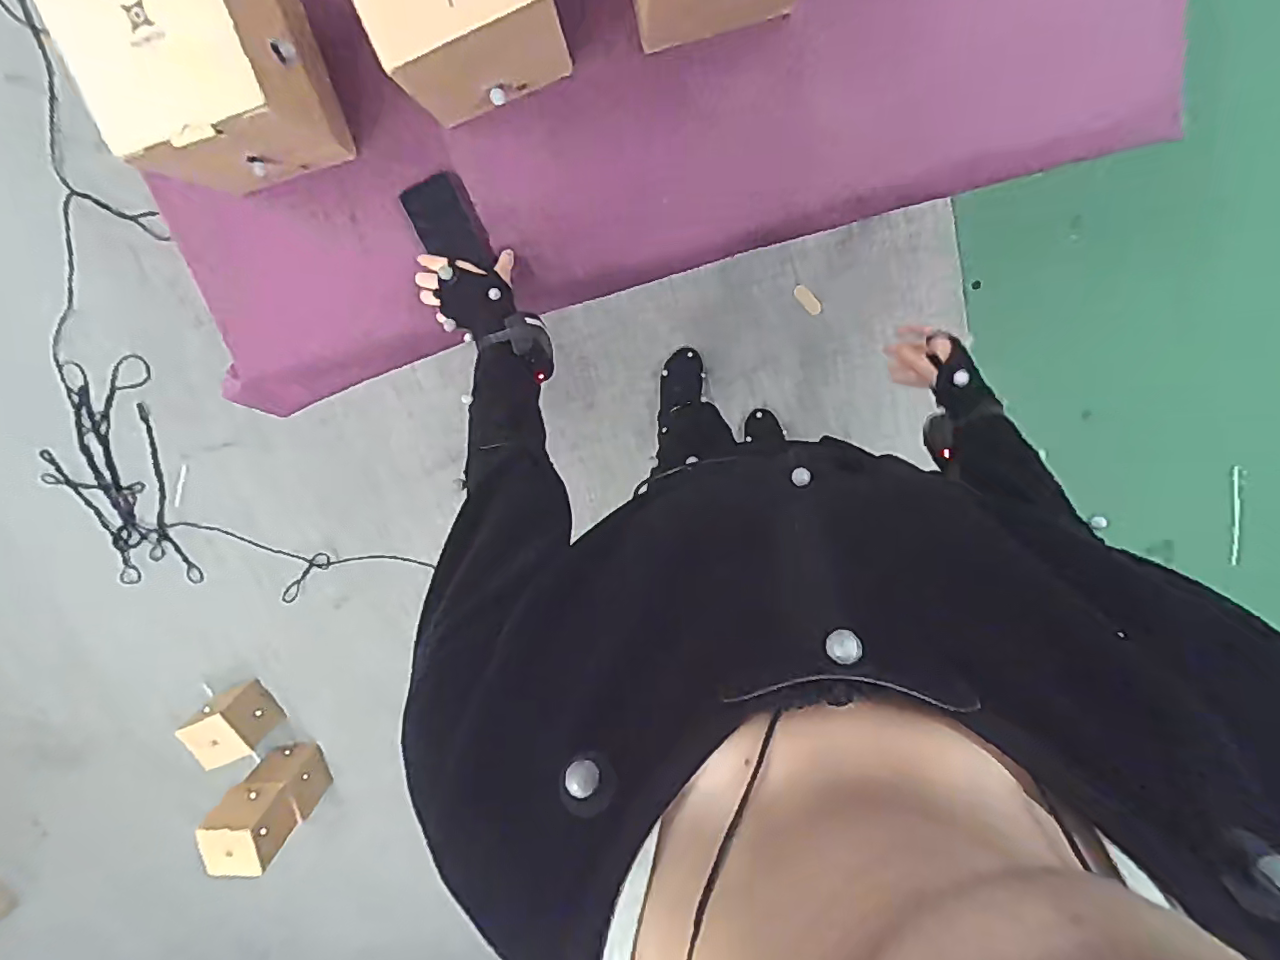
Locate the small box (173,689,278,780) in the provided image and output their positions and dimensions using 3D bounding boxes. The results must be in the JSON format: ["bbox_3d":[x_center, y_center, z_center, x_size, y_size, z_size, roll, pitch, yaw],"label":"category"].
[{"bbox_3d":[-1.287,0.793,1.702,0.179,0.176,0.168,-24,105,8],"label":"small box"}]

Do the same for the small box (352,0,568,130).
[{"bbox_3d":[-0.185,-0.493,0.538,0.168,0.176,0.179,-19,106,7],"label":"small box"}]

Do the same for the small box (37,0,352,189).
[{"bbox_3d":[-0.442,-0.423,0.565,0.168,0.176,0.179,-14,107,5],"label":"small box"}]

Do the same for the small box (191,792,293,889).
[{"bbox_3d":[-1.180,1.076,1.619,0.168,0.176,0.179,0,106,2],"label":"small box"}]

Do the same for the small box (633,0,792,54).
[{"bbox_3d":[0.068,-0.552,0.516,0.179,0.176,0.168,-12,107,5],"label":"small box"}]
